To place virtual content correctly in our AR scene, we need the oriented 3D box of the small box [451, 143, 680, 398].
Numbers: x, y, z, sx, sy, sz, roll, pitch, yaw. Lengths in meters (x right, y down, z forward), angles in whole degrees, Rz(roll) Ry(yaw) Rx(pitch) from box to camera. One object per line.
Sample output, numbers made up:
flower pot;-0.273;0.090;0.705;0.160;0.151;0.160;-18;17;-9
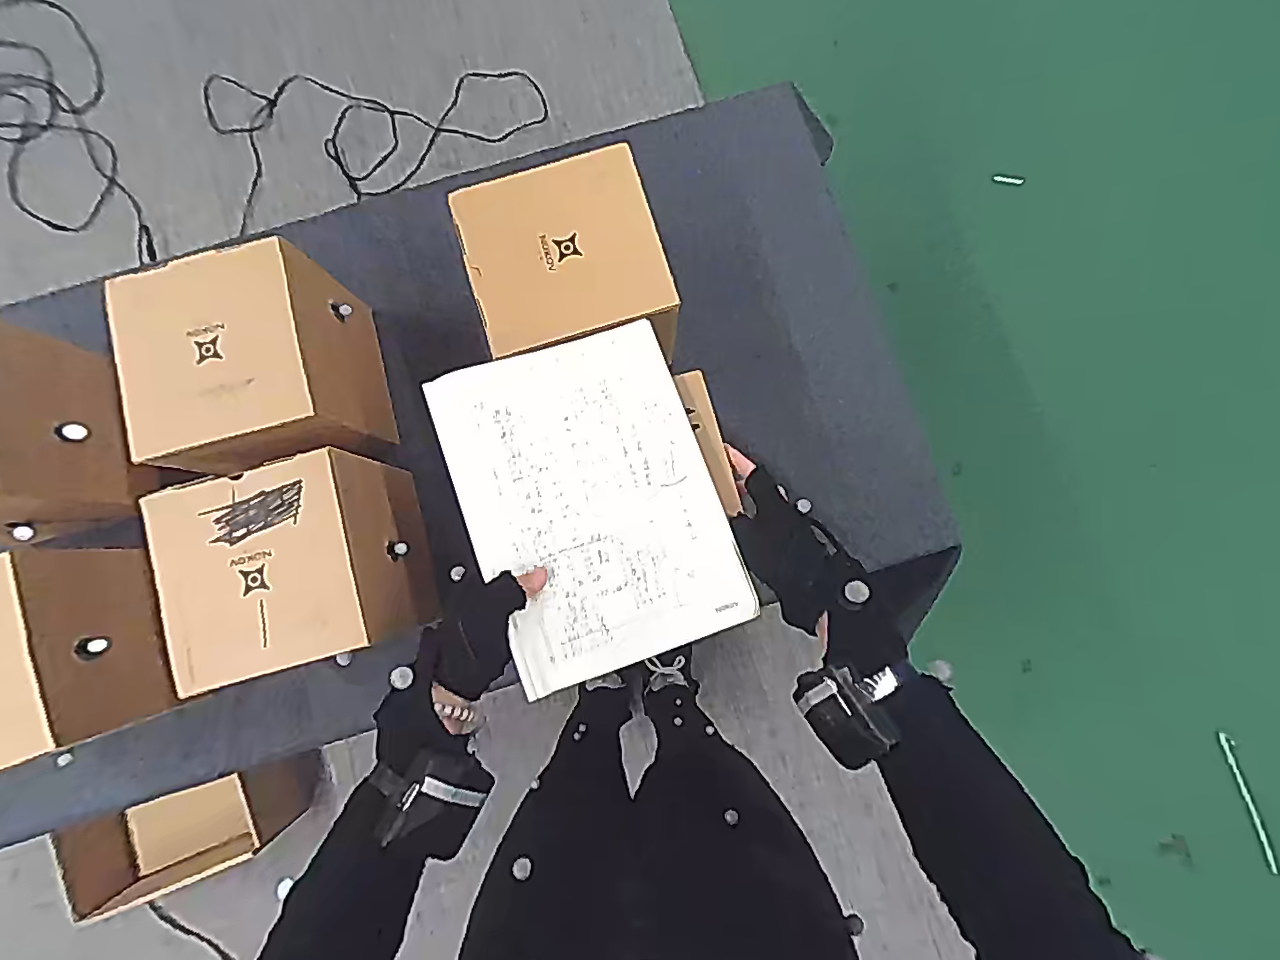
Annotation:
small box;-0.068;-0.202;0.569;0.179;0.176;0.168;-17;83;0
